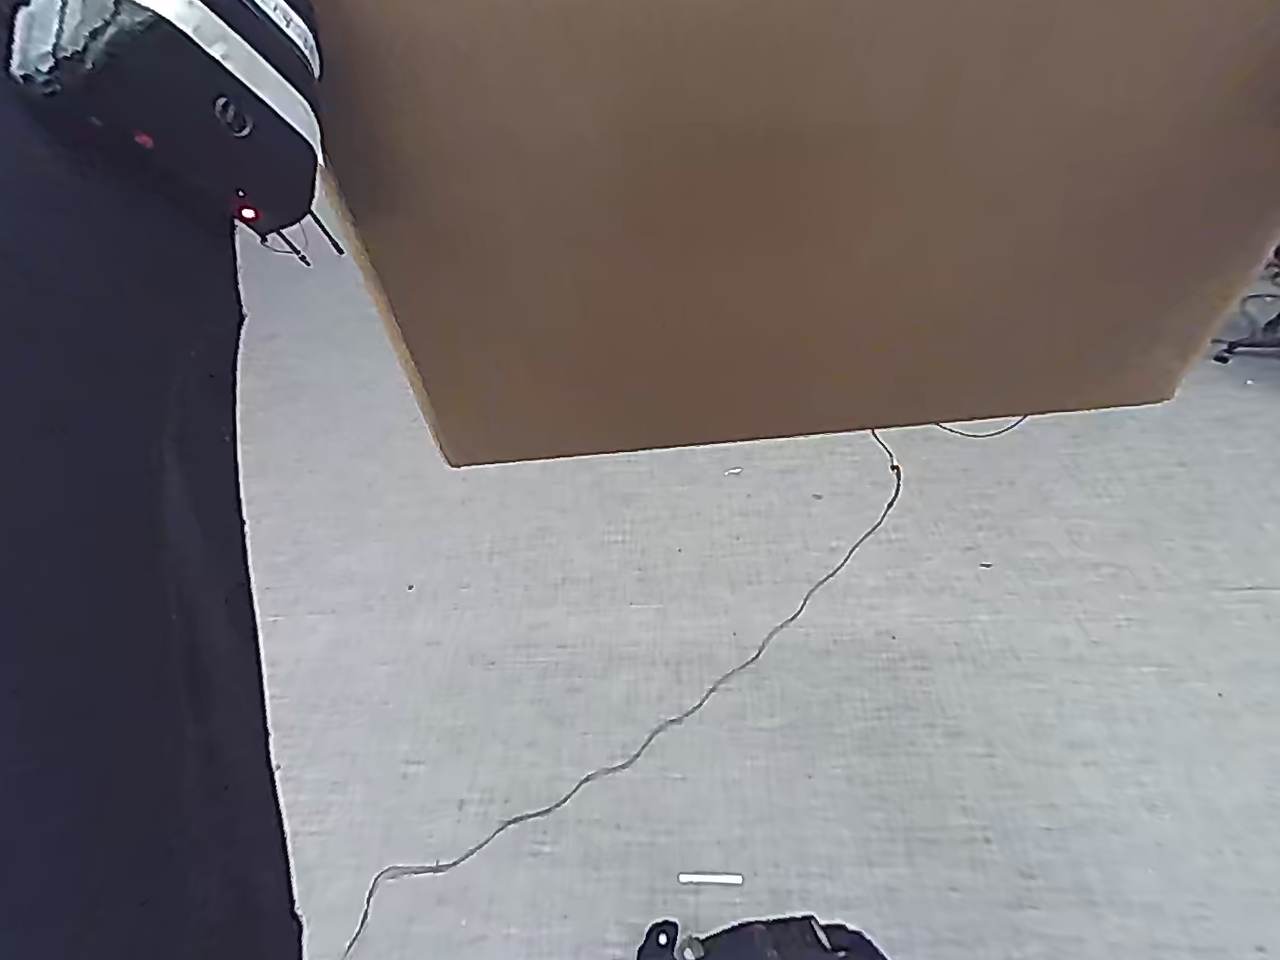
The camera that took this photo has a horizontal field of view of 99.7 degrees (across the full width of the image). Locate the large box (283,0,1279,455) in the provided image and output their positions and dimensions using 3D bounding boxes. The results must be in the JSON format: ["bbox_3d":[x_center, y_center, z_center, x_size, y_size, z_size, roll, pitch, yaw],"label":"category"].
[{"bbox_3d":[0.067,-0.240,0.324,0.408,0.320,0.320,-5,43,0],"label":"large box"}]
